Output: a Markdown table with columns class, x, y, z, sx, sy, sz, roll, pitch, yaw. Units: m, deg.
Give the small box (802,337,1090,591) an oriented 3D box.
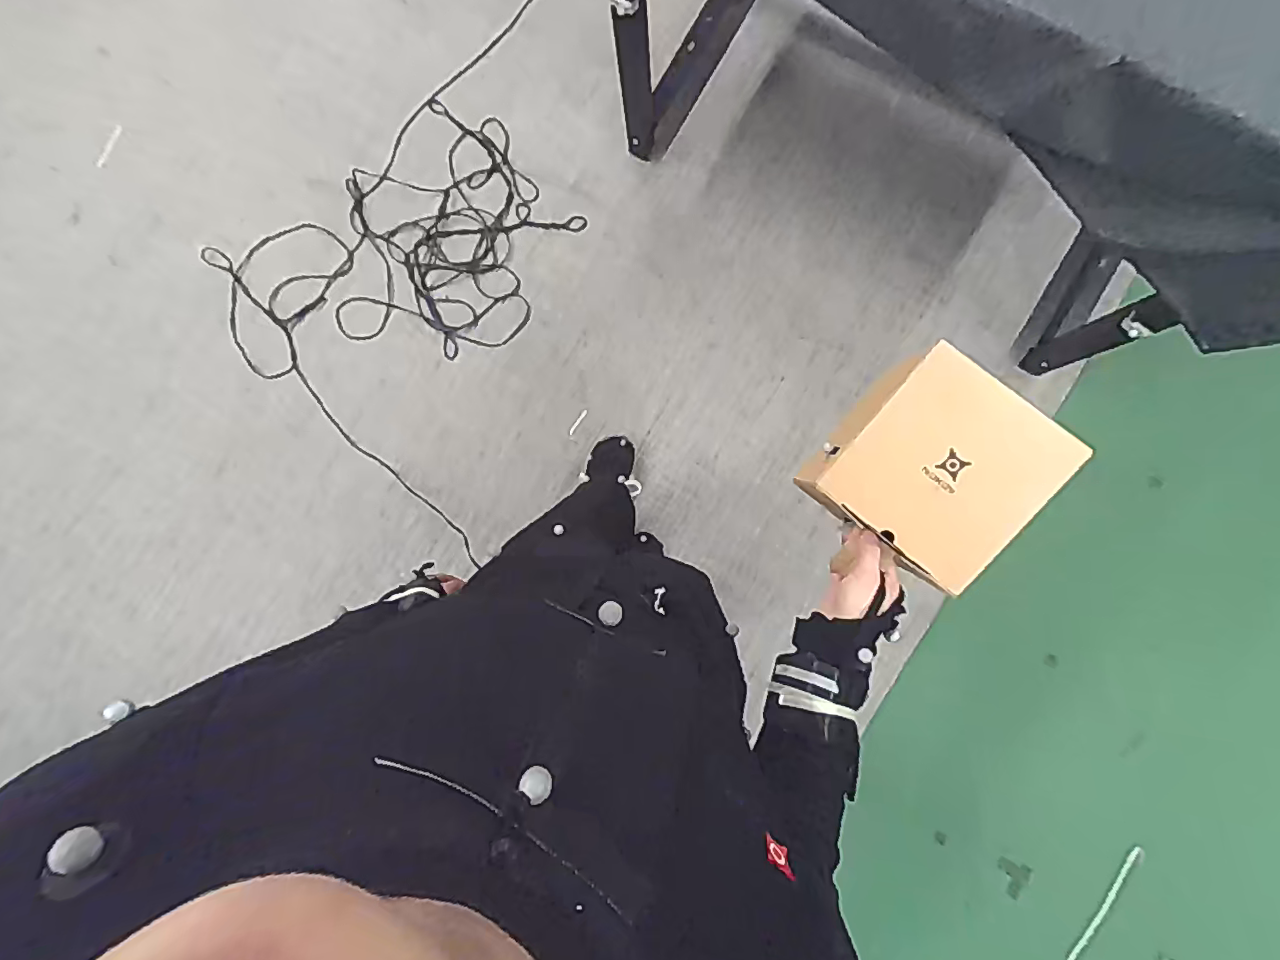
| class | x | y | z | sx | sy | sz | roll | pitch | yaw |
| --- | --- | --- | --- | --- | --- | --- | --- | --- | --- |
| small box | 0.294 | -0.018 | 0.570 | 0.168 | 0.176 | 0.179 | 39 | 97 | 4 |
